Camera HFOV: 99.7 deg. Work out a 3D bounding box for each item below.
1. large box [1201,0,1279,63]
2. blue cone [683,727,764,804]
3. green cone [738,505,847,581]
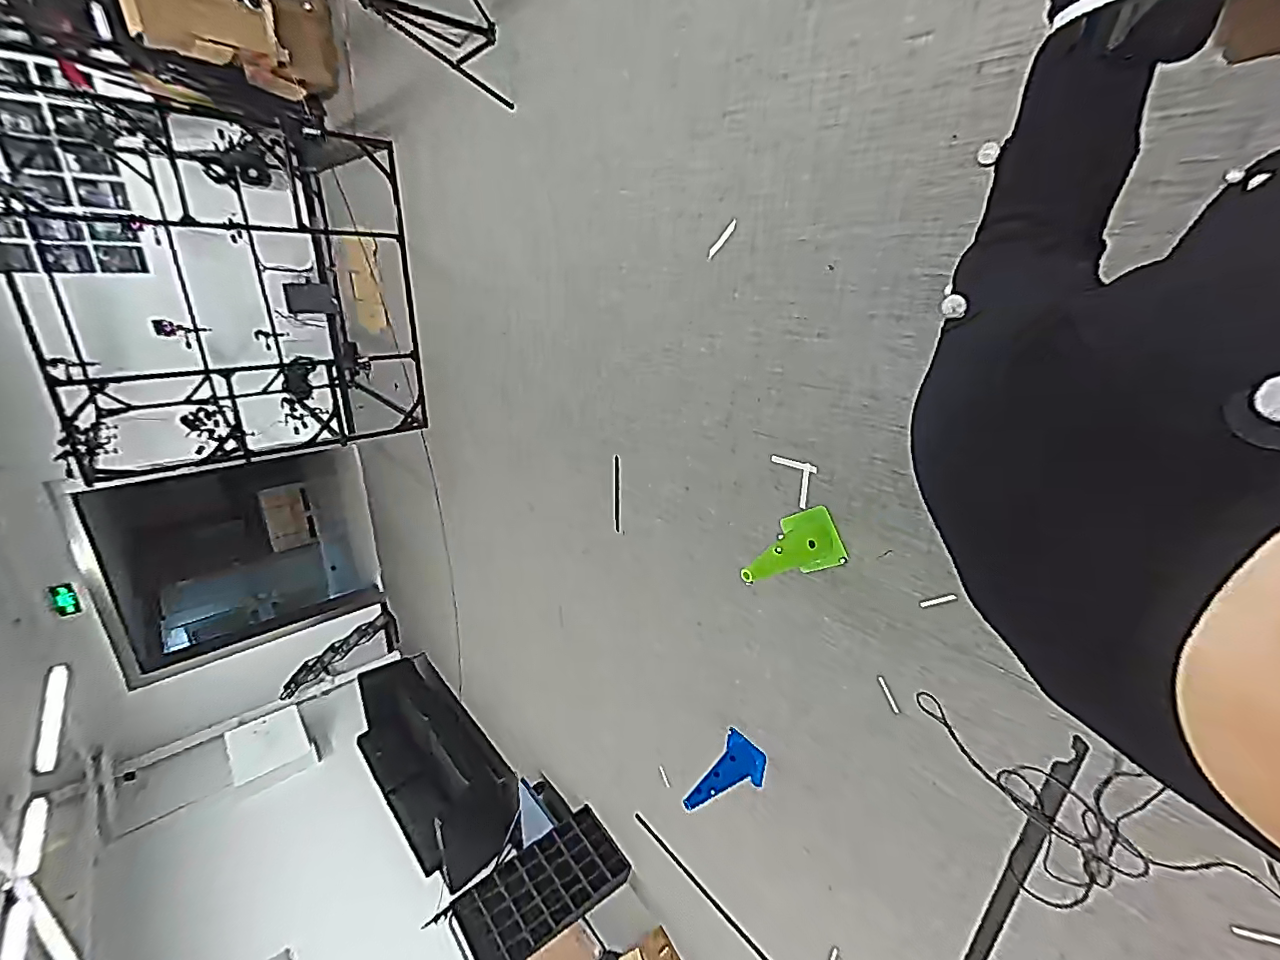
[{"bbox_3d":[0.561,-0.444,0.227,0.408,0.320,0.320,18,122,44],"label":"large box"},{"bbox_3d":[0.329,1.223,2.232,0.192,0.380,0.193,29,124,43],"label":"blue cone"},{"bbox_3d":[0.444,0.233,1.695,0.202,0.368,0.200,-32,77,53],"label":"green cone"}]
